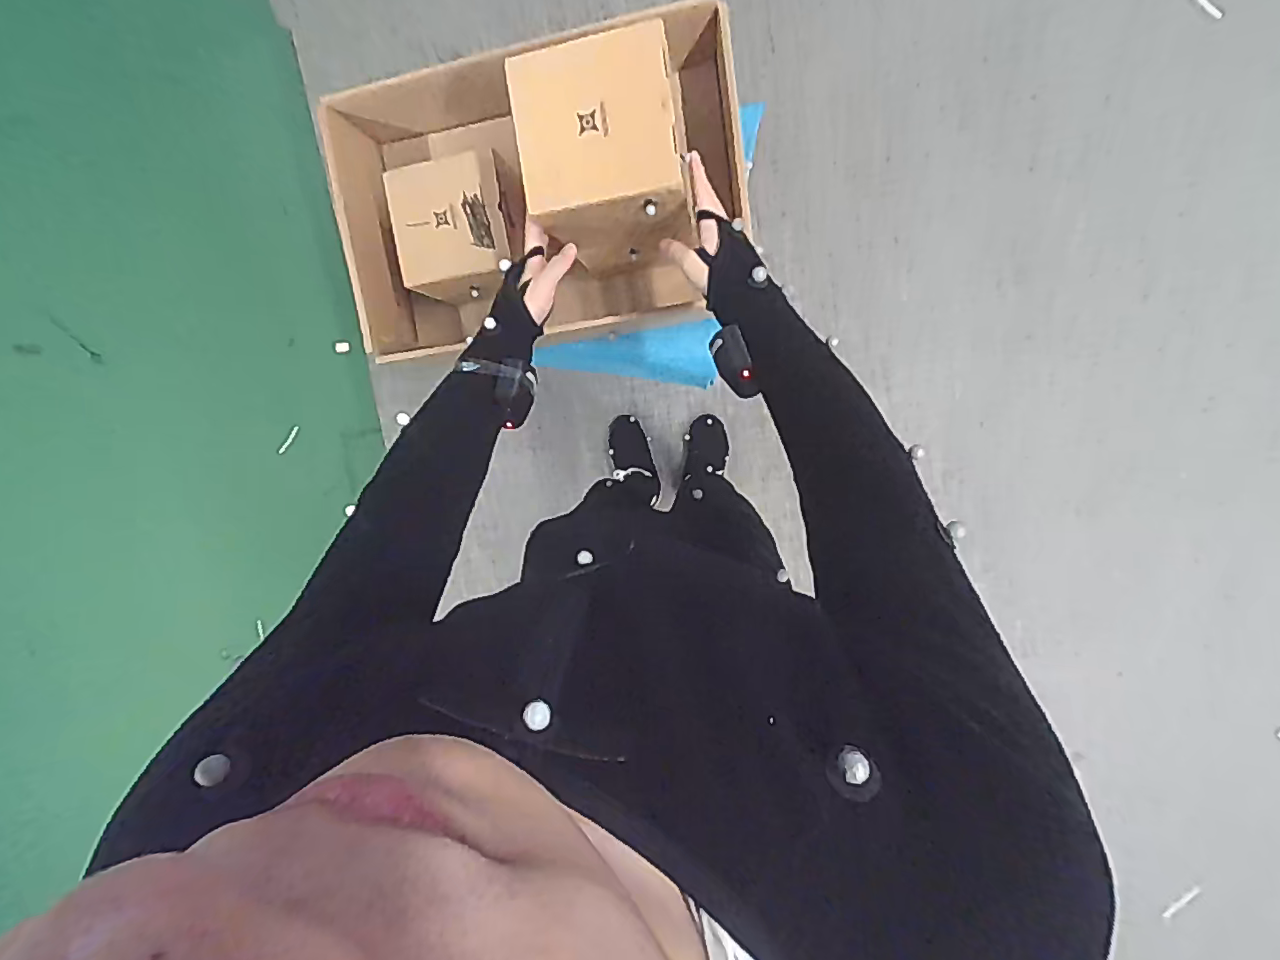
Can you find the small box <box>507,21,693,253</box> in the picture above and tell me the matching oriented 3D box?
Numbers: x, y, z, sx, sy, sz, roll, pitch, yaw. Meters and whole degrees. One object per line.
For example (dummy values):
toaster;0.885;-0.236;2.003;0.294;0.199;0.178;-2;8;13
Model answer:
small box;-0.036;-0.390;0.652;0.179;0.176;0.168;-6;97;10
